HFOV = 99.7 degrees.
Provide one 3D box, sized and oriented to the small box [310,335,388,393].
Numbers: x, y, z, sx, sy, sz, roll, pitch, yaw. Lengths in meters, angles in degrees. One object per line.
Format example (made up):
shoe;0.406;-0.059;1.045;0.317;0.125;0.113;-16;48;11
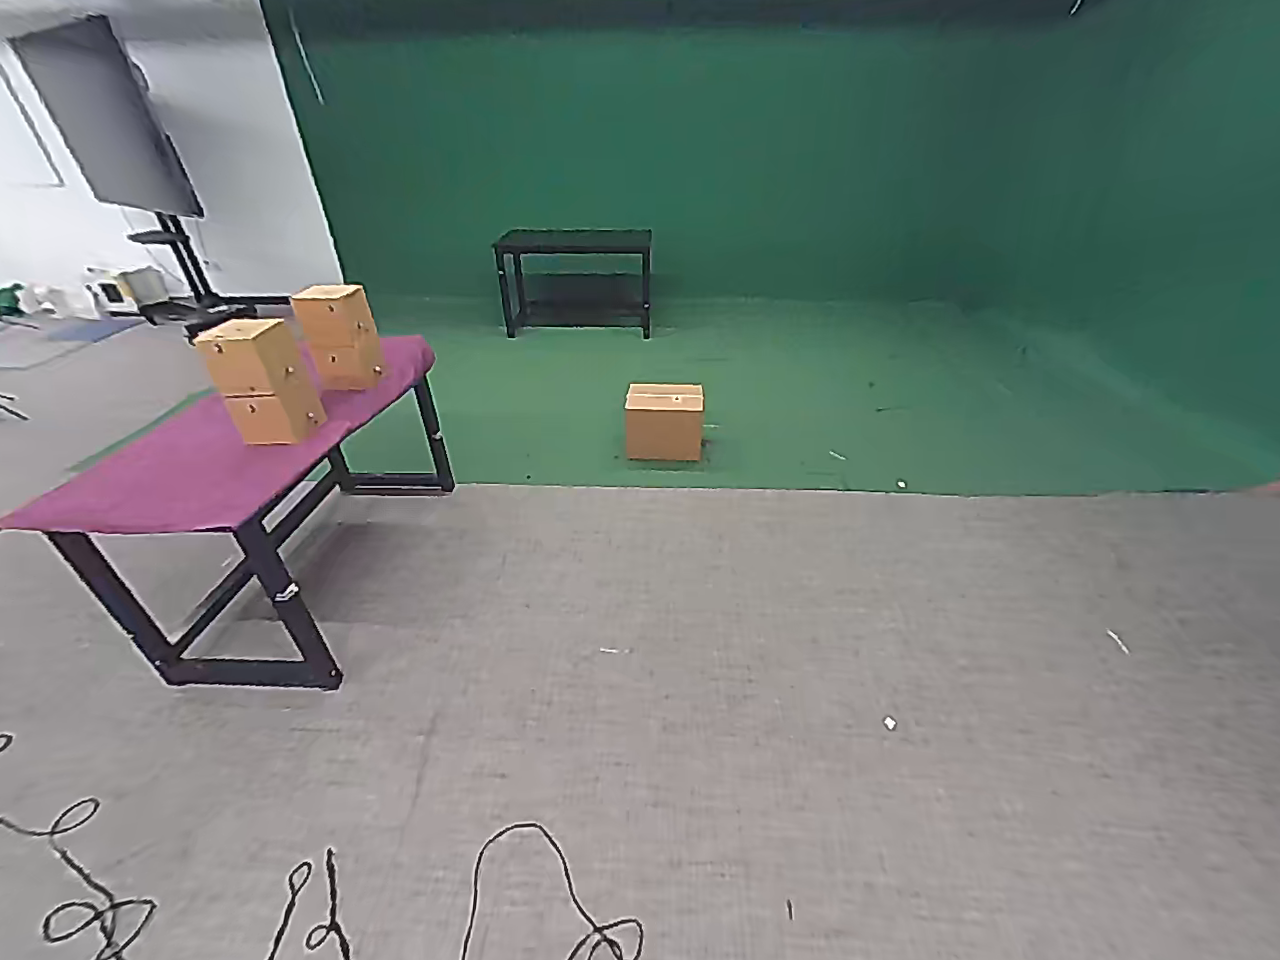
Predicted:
small box;-1.064;-0.428;1.993;0.179;0.176;0.168;1;34;3

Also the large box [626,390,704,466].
large box;0.134;-0.288;2.946;0.408;0.320;0.320;3;34;4

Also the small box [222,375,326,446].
small box;-1.117;-0.213;1.666;0.179;0.176;0.168;-1;34;3

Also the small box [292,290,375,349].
small box;-1.072;-0.564;1.905;0.179;0.176;0.168;1;34;3

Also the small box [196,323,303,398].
small box;-1.120;-0.349;1.575;0.168;0.176;0.179;-2;33;3
